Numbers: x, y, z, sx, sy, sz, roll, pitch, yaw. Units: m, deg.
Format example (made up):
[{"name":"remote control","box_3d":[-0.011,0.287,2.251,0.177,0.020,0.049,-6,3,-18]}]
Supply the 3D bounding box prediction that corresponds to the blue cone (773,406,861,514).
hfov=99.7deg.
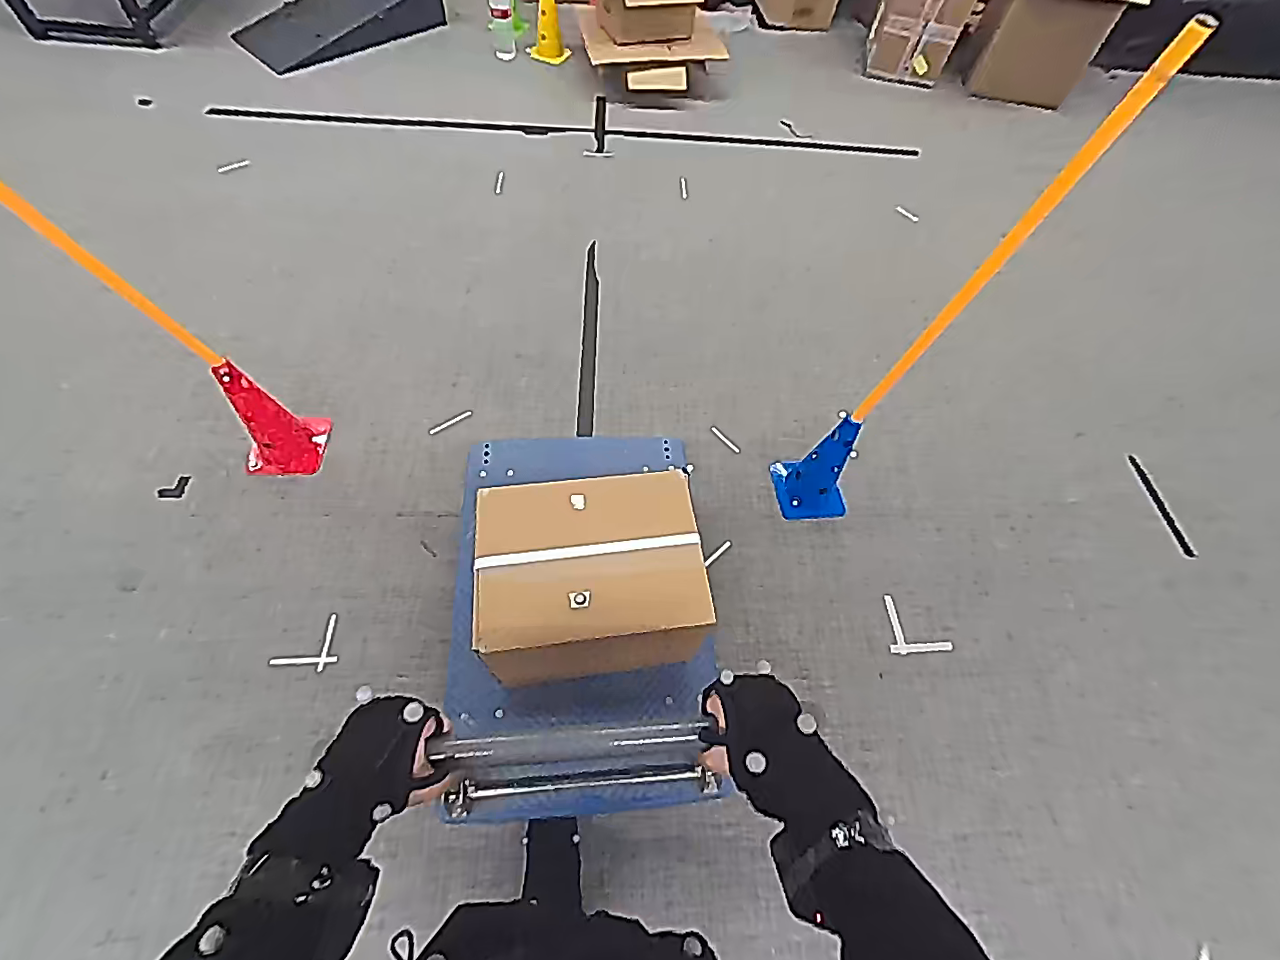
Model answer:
[{"name":"blue cone","box_3d":[0.526,-0.066,1.508,0.193,0.380,0.192,-2,59,-7]}]
